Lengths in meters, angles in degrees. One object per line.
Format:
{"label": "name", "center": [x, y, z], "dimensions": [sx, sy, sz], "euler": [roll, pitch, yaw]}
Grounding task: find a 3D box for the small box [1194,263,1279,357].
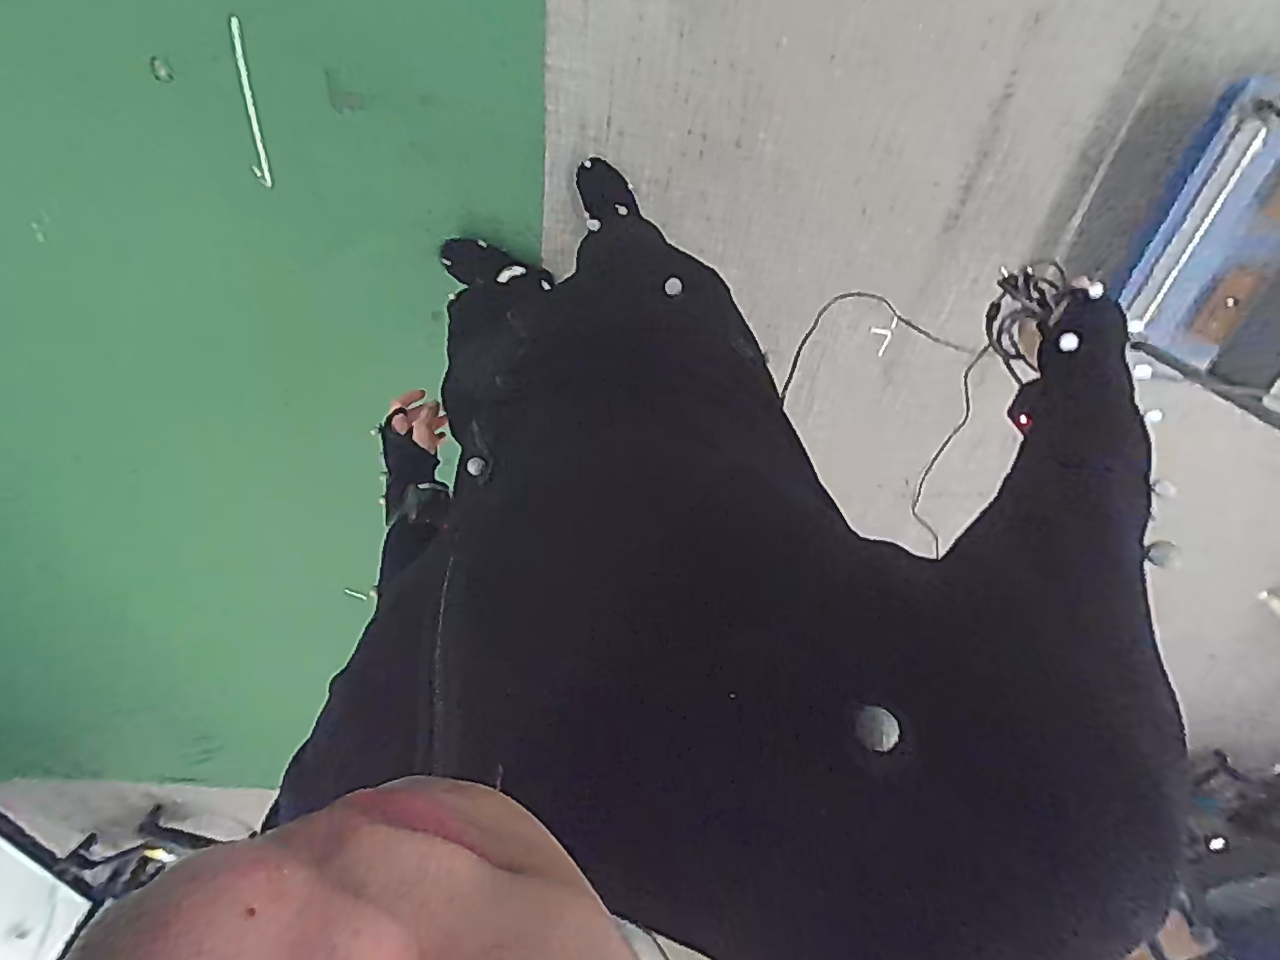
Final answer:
{"label": "small box", "center": [1.476, -0.393, 1.251], "dimensions": [0.179, 0.176, 0.168], "euler": [4, 125, -2]}
